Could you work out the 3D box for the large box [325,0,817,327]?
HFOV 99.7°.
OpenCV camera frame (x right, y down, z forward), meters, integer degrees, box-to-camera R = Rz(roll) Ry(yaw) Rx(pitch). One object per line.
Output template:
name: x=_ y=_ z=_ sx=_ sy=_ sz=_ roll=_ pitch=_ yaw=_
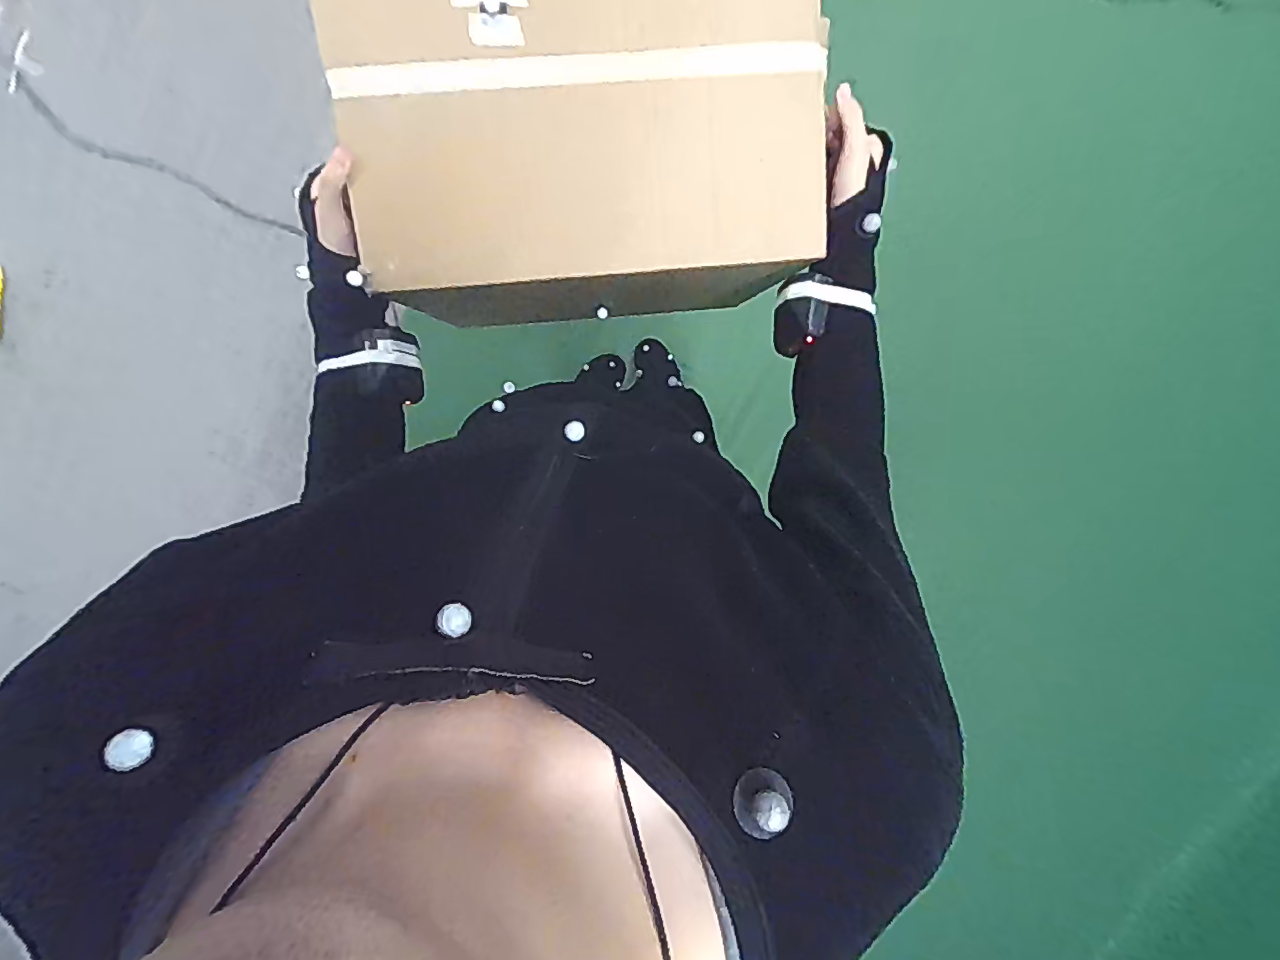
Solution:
large box: x=-0.059 y=-0.360 z=0.605 sx=0.408 sy=0.320 sz=0.320 roll=-7 pitch=100 yaw=-3
